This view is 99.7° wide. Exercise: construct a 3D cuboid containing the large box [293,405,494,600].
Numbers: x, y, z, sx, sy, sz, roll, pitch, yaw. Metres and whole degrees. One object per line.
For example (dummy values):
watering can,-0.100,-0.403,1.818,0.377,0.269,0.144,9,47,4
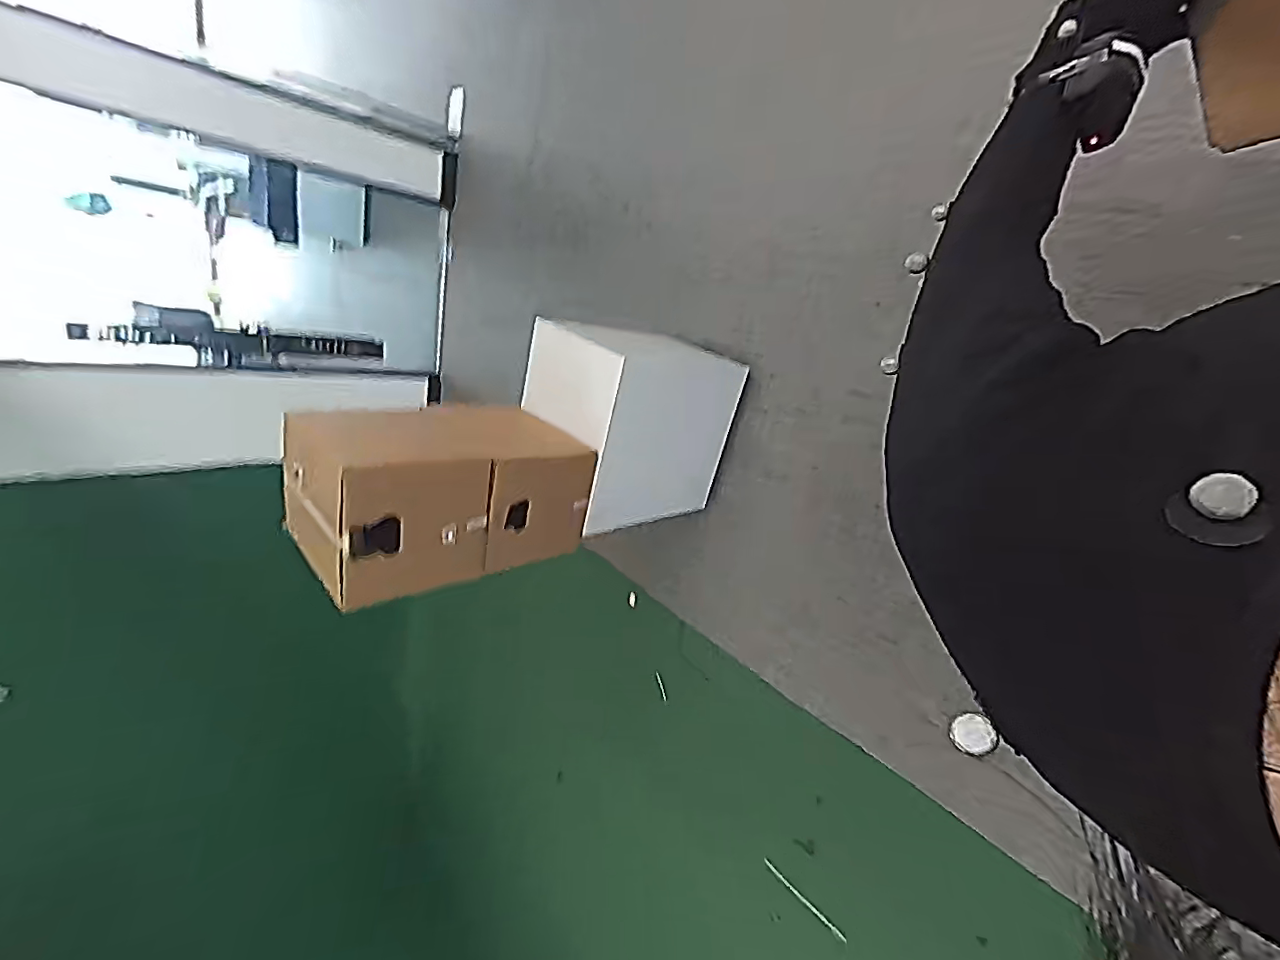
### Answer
large box,-0.579,0.022,1.267,0.408,0.320,0.320,28,114,41
